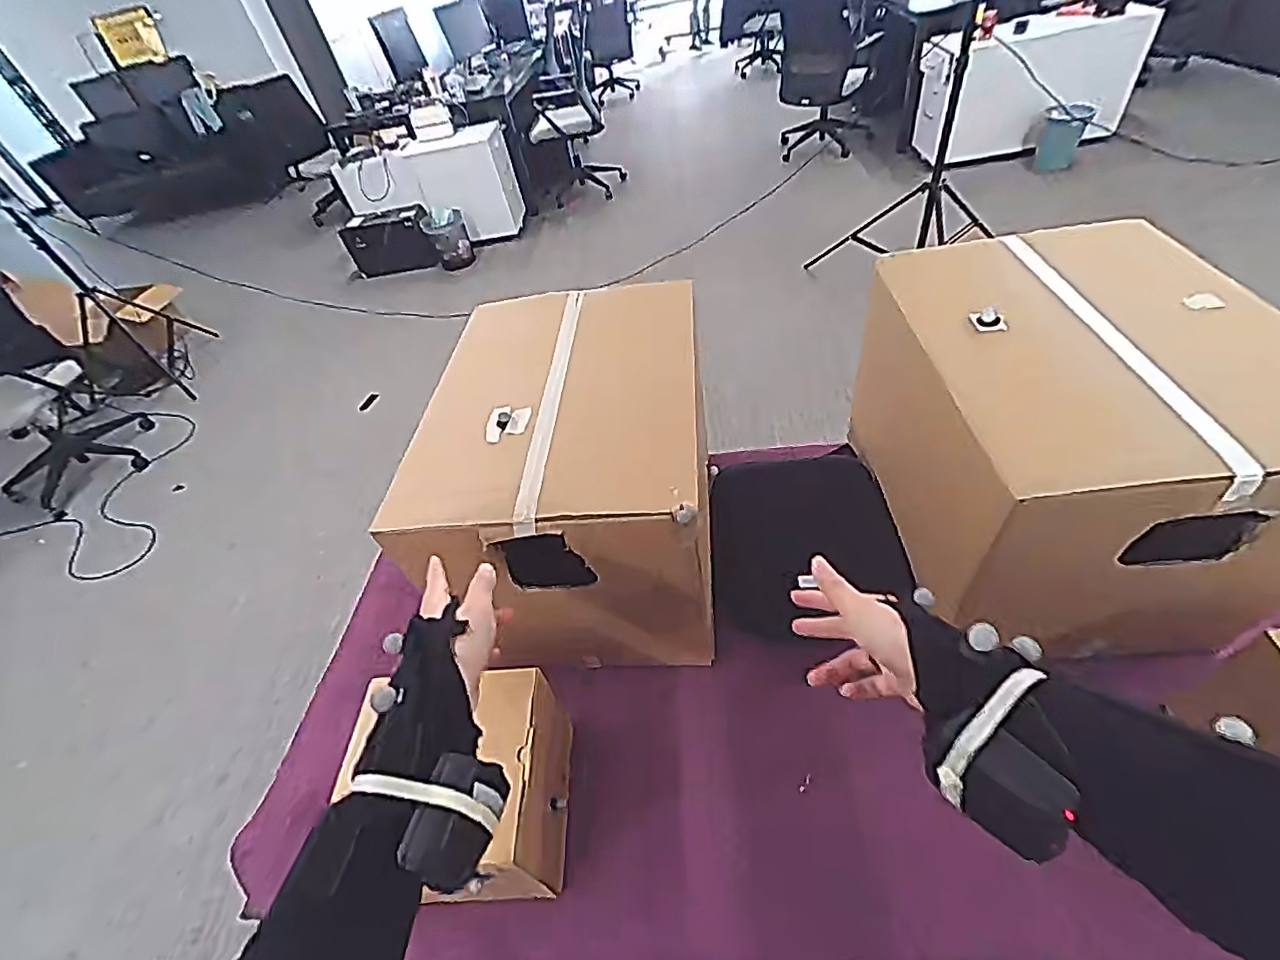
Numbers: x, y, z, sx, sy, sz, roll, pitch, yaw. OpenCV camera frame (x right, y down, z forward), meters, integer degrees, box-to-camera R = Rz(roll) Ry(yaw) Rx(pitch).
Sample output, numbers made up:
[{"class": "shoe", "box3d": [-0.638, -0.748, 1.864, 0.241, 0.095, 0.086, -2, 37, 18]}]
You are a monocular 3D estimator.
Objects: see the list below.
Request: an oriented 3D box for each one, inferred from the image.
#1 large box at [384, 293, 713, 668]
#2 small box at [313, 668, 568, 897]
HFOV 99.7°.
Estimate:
[{"class": "large box", "box3d": [-0.071, 0.002, 0.737, 0.320, 0.320, 0.408, -5, 49, 9]}, {"class": "small box", "box3d": [-0.182, 0.315, 0.558, 0.179, 0.176, 0.168, -5, 45, 3]}]
